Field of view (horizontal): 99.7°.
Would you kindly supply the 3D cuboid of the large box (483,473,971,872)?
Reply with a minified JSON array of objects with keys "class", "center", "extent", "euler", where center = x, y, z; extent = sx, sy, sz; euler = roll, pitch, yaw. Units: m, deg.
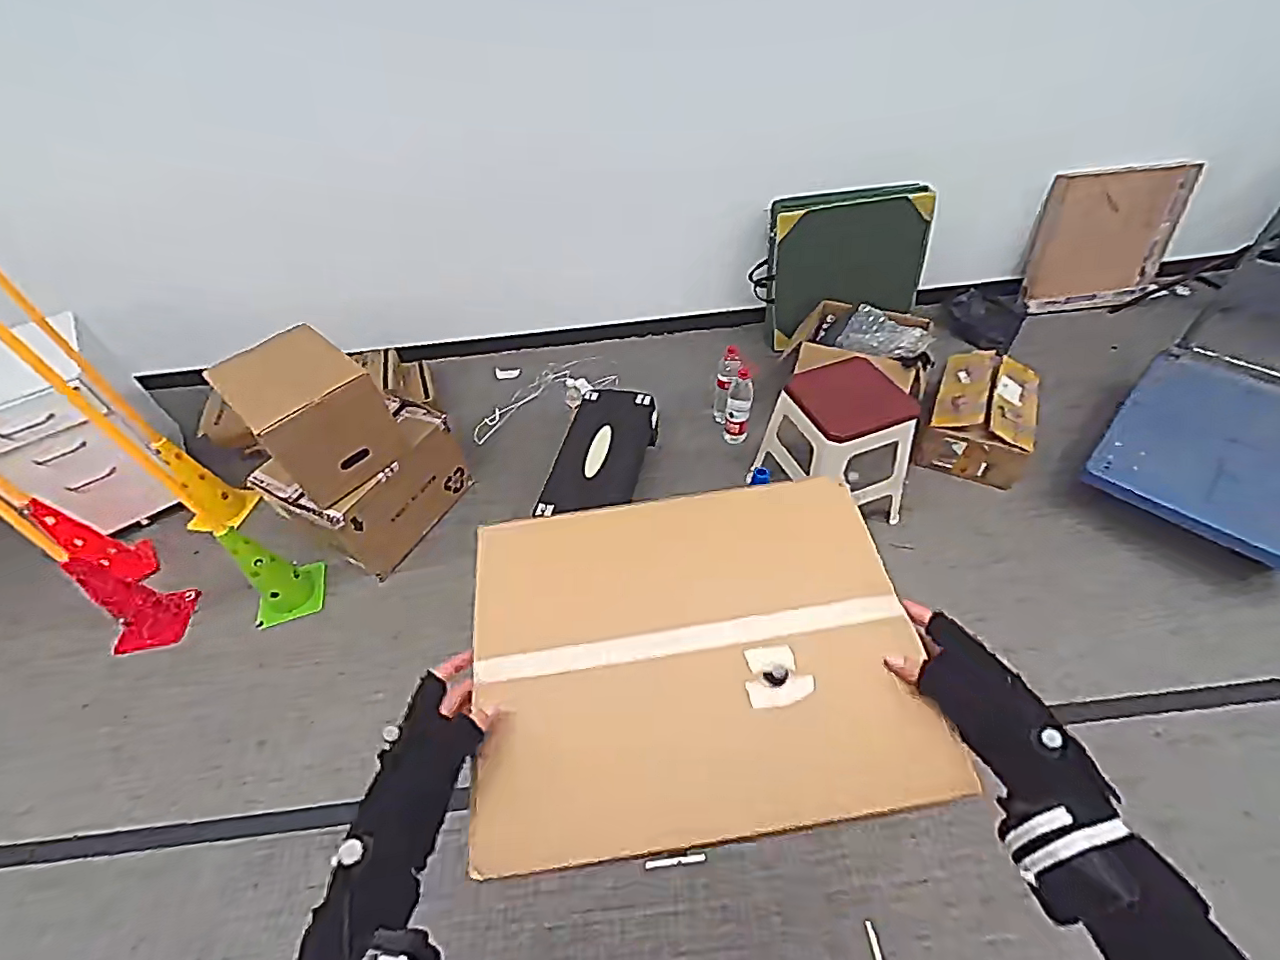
[{"class":"large box","center":[0.055,0.229,0.628],"extent":[0.408,0.320,0.320],"euler":[-8,56,-3]}]
